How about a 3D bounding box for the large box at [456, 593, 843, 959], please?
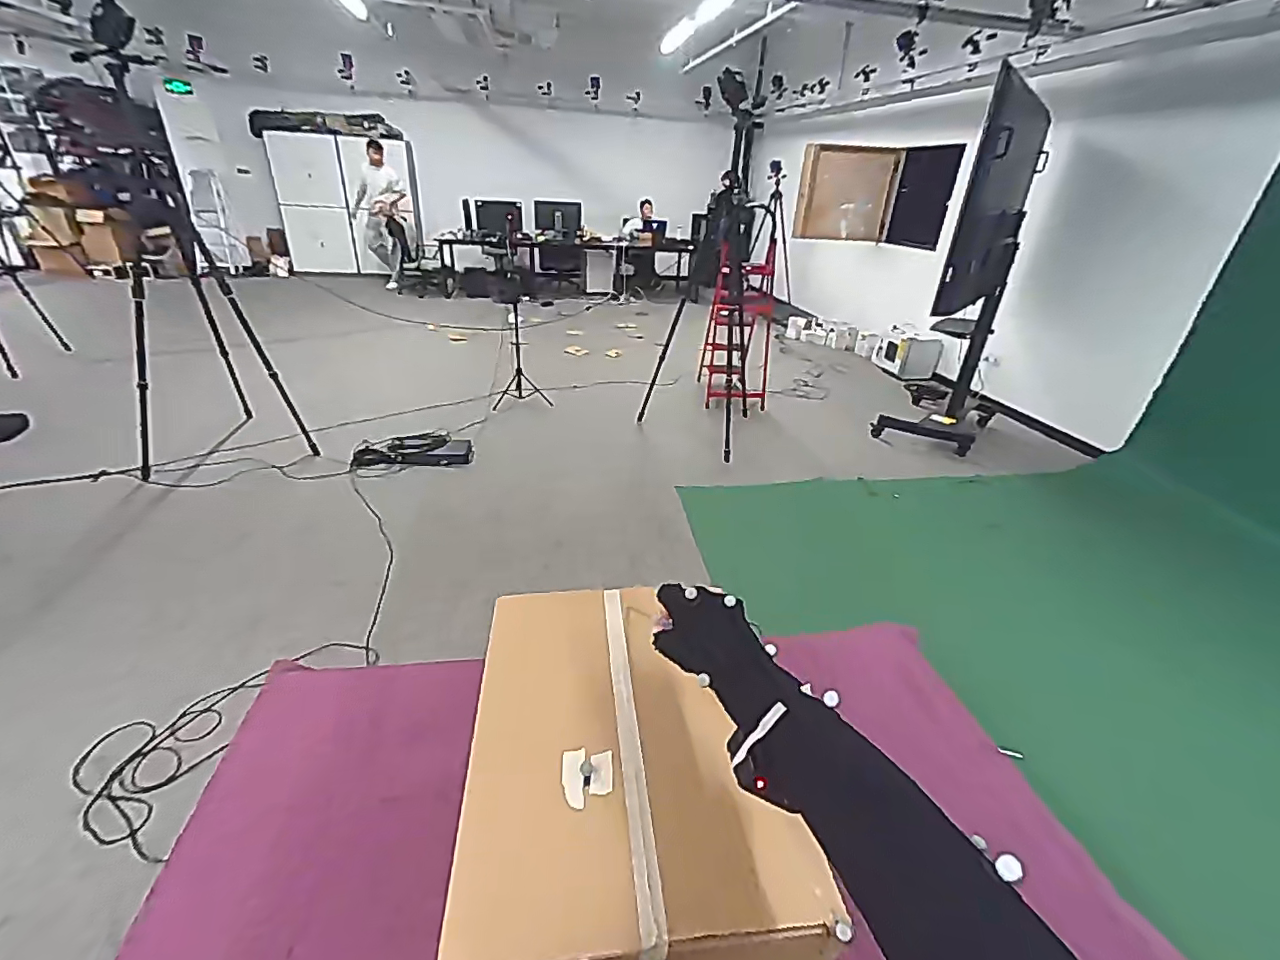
[{"bbox_3d":[-0.022,0.387,0.656,0.320,0.320,0.408,-1,29,-8],"label":"large box"}]
